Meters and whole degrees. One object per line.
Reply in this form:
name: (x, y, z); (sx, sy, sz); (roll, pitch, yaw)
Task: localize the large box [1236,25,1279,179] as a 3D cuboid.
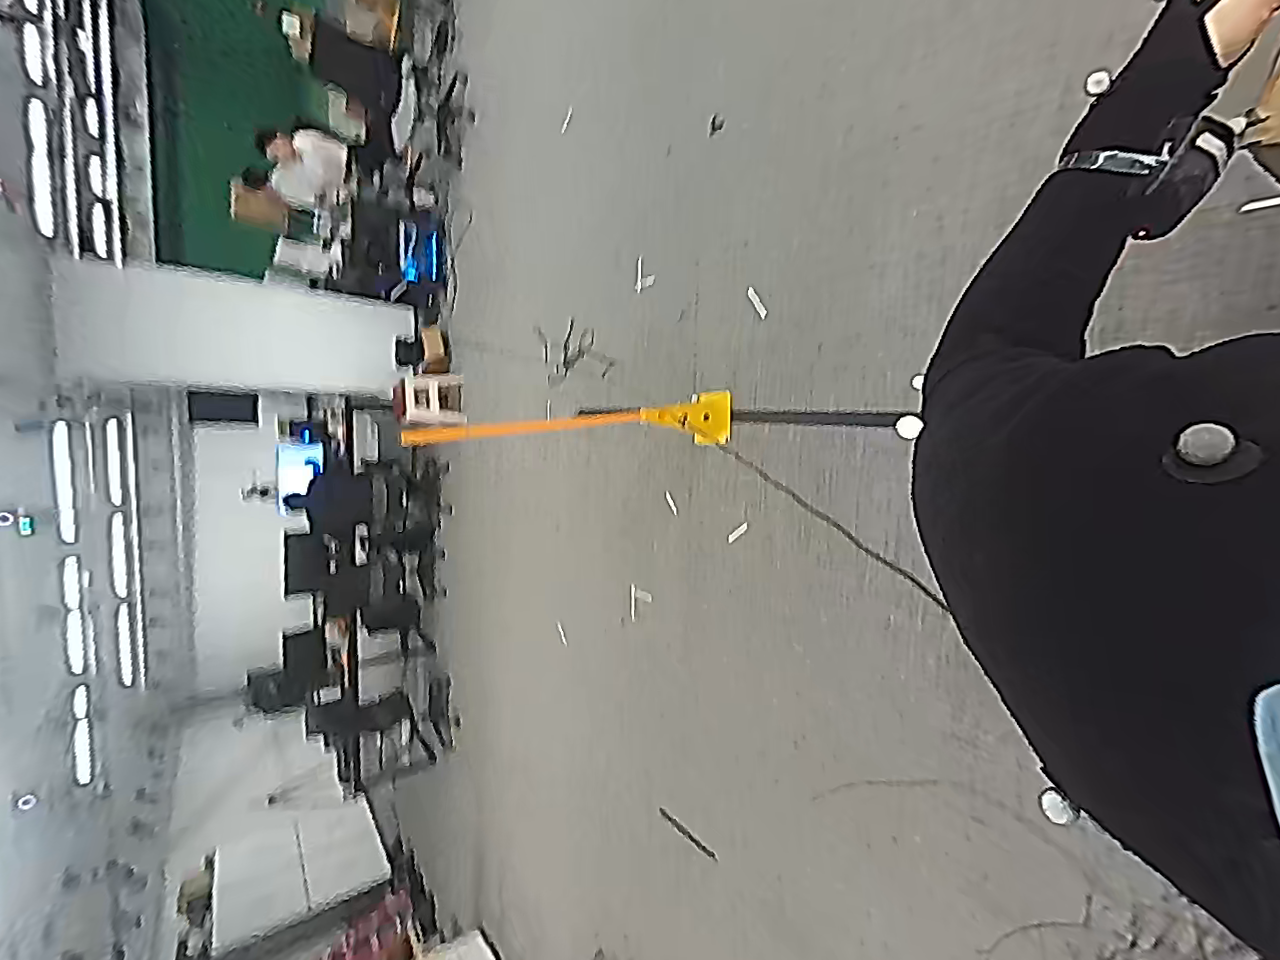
large box: (0.678, -0.343, 0.271); (0.408, 0.320, 0.320); (30, 121, 51)
